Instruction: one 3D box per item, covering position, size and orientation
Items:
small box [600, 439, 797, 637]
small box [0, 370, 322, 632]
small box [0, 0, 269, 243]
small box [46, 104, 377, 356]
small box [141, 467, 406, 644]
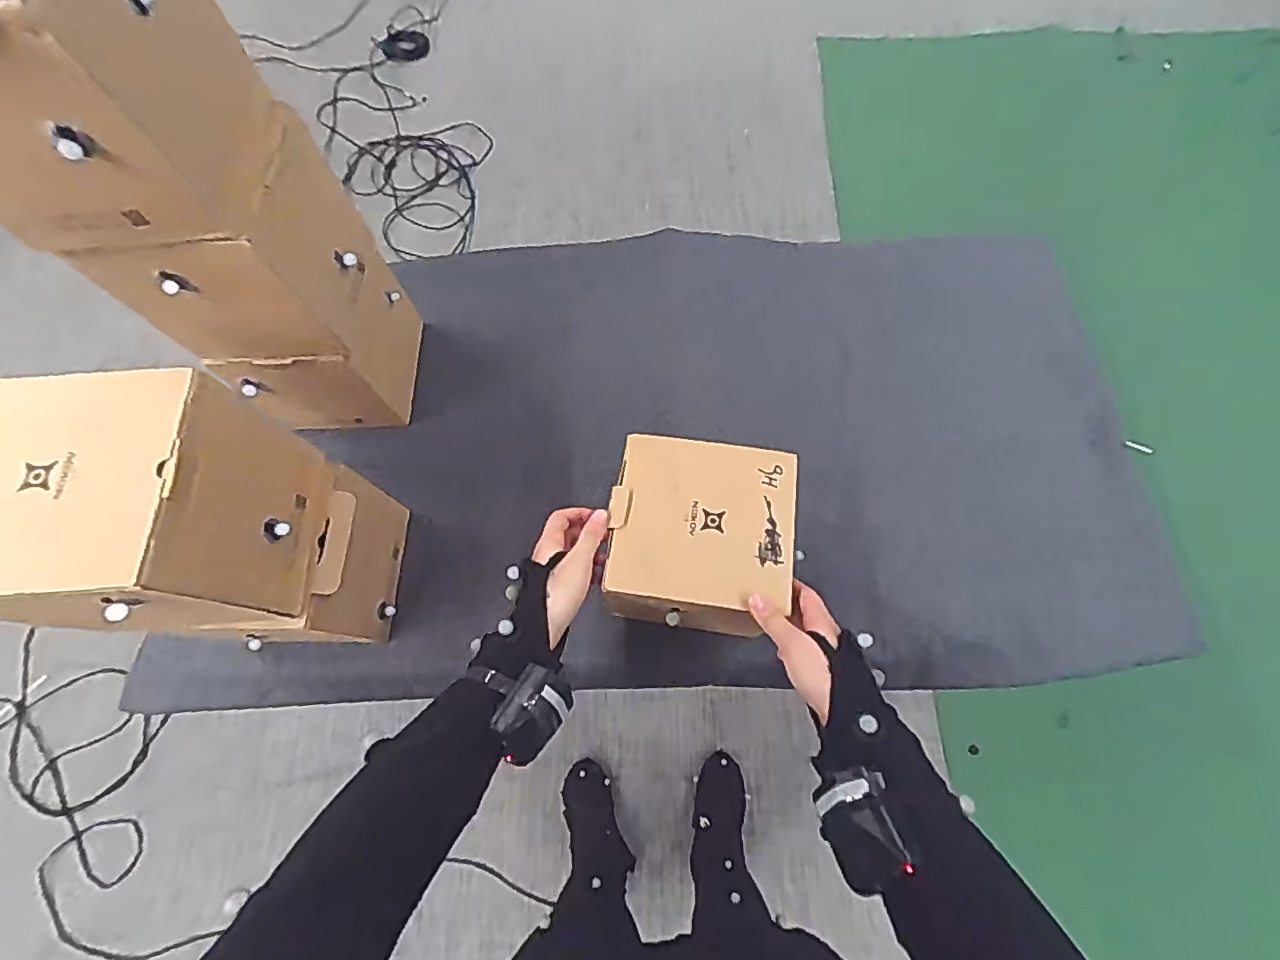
[{"bbox_3d":[0.063,0.072,0.593,0.179,0.176,0.168,7,69,5],"label":"small box"},{"bbox_3d":[-0.403,0.029,0.446,0.179,0.176,0.168,-4,69,-1],"label":"small box"},{"bbox_3d":[-0.410,-0.294,0.392,0.168,0.176,0.179,-4,69,-2],"label":"small box"},{"bbox_3d":[-0.399,-0.237,0.543,0.179,0.176,0.168,-1,70,1],"label":"small box"},{"bbox_3d":[-0.384,0.089,0.597,0.179,0.176,0.168,0,69,2],"label":"small box"}]
